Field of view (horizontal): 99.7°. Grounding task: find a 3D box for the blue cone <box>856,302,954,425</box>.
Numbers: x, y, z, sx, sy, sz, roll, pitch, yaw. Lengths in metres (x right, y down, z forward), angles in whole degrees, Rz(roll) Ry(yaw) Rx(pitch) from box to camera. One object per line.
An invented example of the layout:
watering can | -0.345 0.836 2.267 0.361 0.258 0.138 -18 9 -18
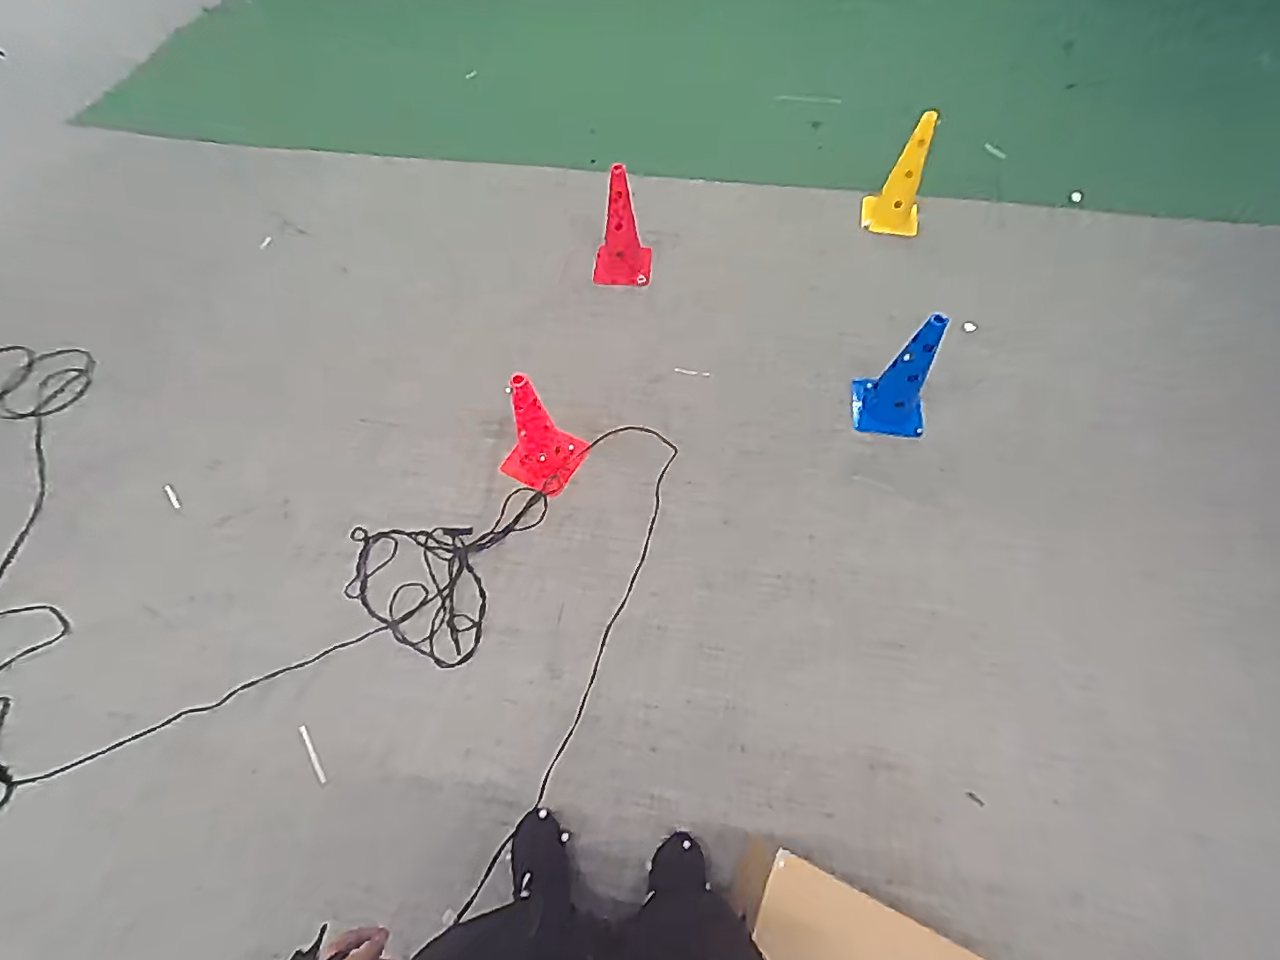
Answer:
blue cone | 0.732 -0.325 1.458 0.192 0.380 0.193 8 62 7

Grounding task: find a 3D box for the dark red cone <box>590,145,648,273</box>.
dark red cone | -0.082 -0.887 1.774 0.202 0.394 0.201 1 58 4

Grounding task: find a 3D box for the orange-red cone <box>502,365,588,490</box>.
orange-red cone | -0.282 -0.164 1.404 0.199 0.360 0.198 25 64 17
